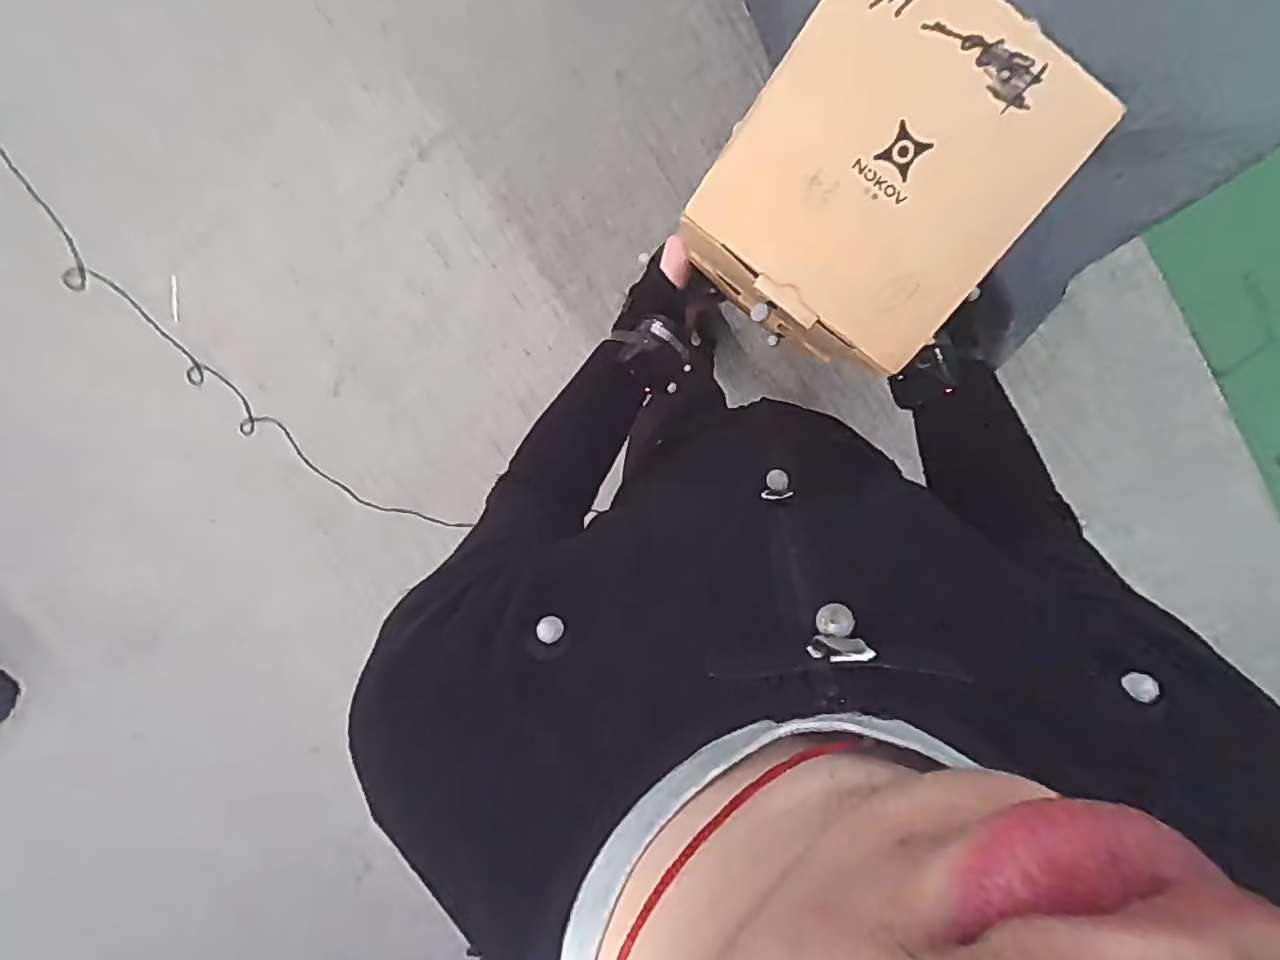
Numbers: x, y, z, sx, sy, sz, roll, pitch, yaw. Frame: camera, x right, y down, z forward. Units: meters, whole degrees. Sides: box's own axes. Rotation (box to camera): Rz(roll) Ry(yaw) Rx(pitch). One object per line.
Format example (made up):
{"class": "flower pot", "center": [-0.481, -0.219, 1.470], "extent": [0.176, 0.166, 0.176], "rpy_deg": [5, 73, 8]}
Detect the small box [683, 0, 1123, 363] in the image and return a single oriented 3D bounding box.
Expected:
{"class": "small box", "center": [0.150, -0.206, 0.377], "extent": [0.168, 0.176, 0.179], "rpy_deg": [36, 108, -5]}
